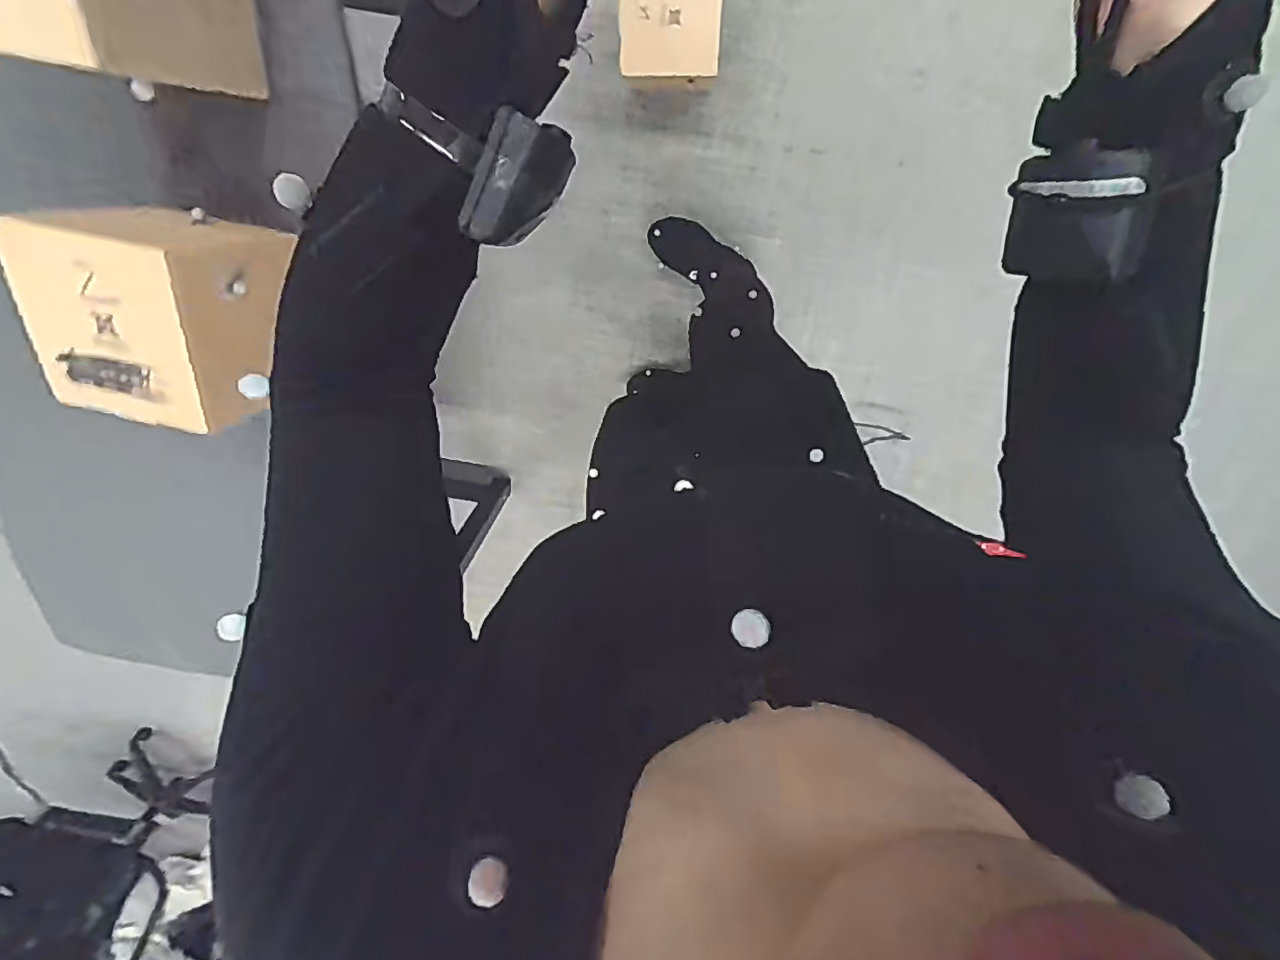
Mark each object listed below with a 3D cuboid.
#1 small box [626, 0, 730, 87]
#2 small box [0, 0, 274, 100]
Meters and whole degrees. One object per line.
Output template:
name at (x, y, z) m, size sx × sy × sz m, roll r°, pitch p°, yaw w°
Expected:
small box at (0.070, -0.828, 0.981) m, size 0.179 × 0.176 × 0.168 m, roll 3°, pitch 119°, yaw 5°
small box at (-0.433, -0.423, 0.423) m, size 0.168 × 0.176 × 0.179 m, roll 13°, pitch 122°, yaw 4°
